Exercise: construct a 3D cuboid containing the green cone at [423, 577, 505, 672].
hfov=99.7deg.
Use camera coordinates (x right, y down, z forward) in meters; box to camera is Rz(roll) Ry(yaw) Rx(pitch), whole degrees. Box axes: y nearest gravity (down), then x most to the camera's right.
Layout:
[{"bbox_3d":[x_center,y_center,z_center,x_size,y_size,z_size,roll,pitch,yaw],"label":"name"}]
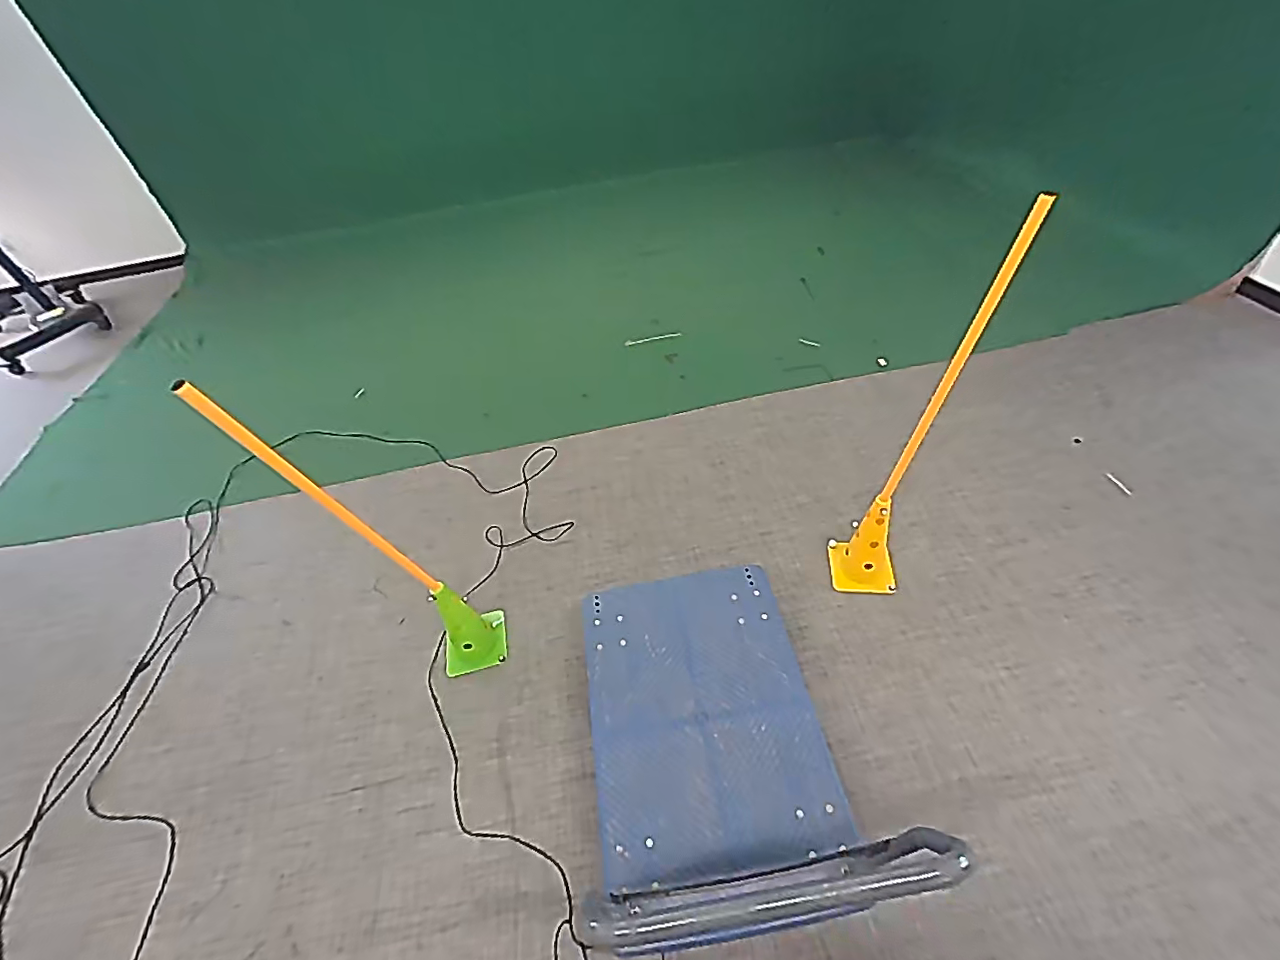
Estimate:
[{"bbox_3d":[-0.577,0.411,1.682,0.202,0.368,0.200,-16,47,-4],"label":"green cone"}]
